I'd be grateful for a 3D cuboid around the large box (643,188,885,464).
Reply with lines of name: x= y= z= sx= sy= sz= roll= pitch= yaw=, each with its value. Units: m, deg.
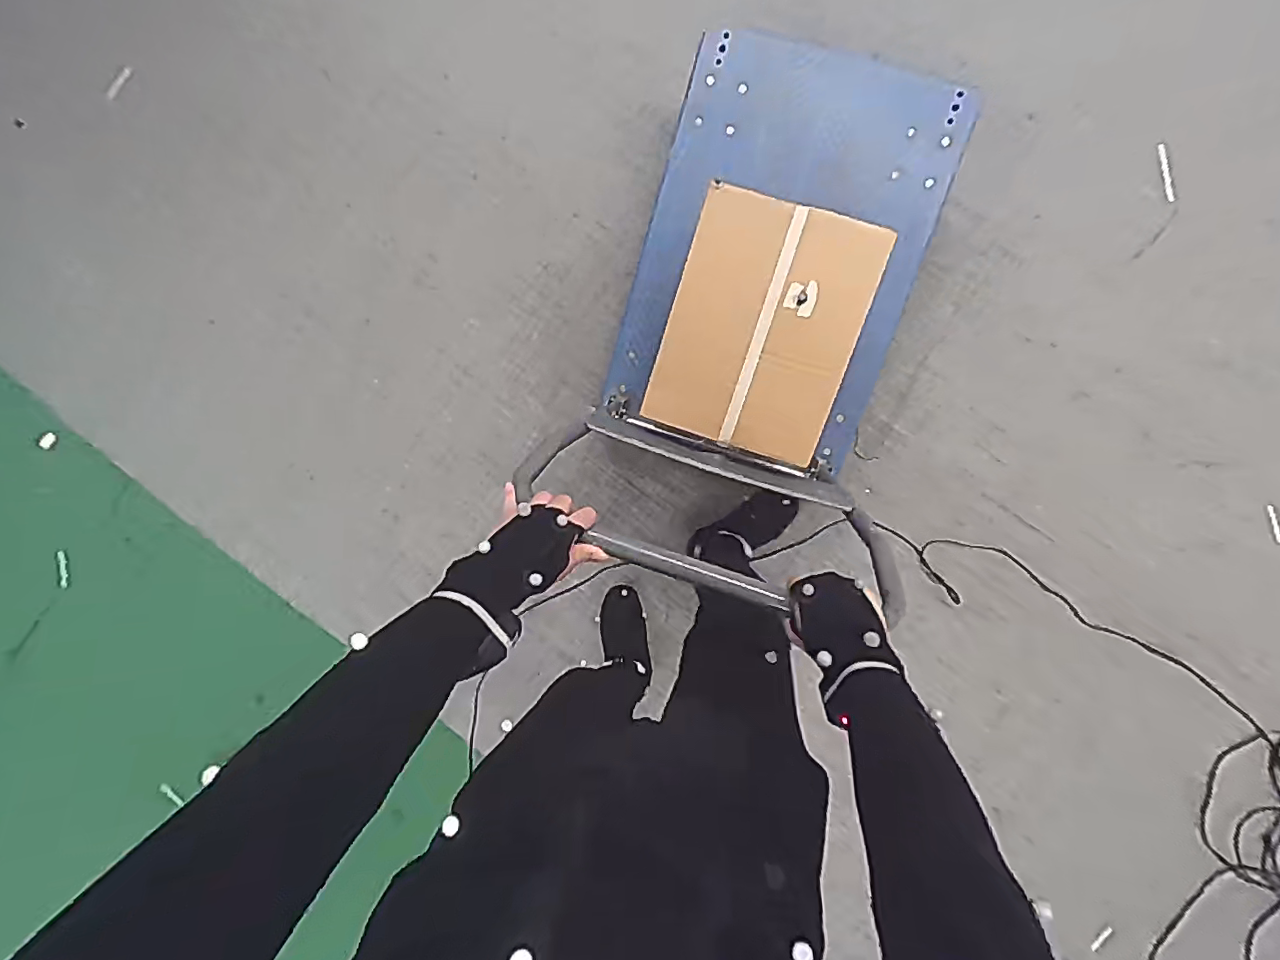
large box: x=0.222 y=-0.277 z=1.063 sx=0.320 sy=0.320 sz=0.408 roll=17 pitch=102 yaw=5
